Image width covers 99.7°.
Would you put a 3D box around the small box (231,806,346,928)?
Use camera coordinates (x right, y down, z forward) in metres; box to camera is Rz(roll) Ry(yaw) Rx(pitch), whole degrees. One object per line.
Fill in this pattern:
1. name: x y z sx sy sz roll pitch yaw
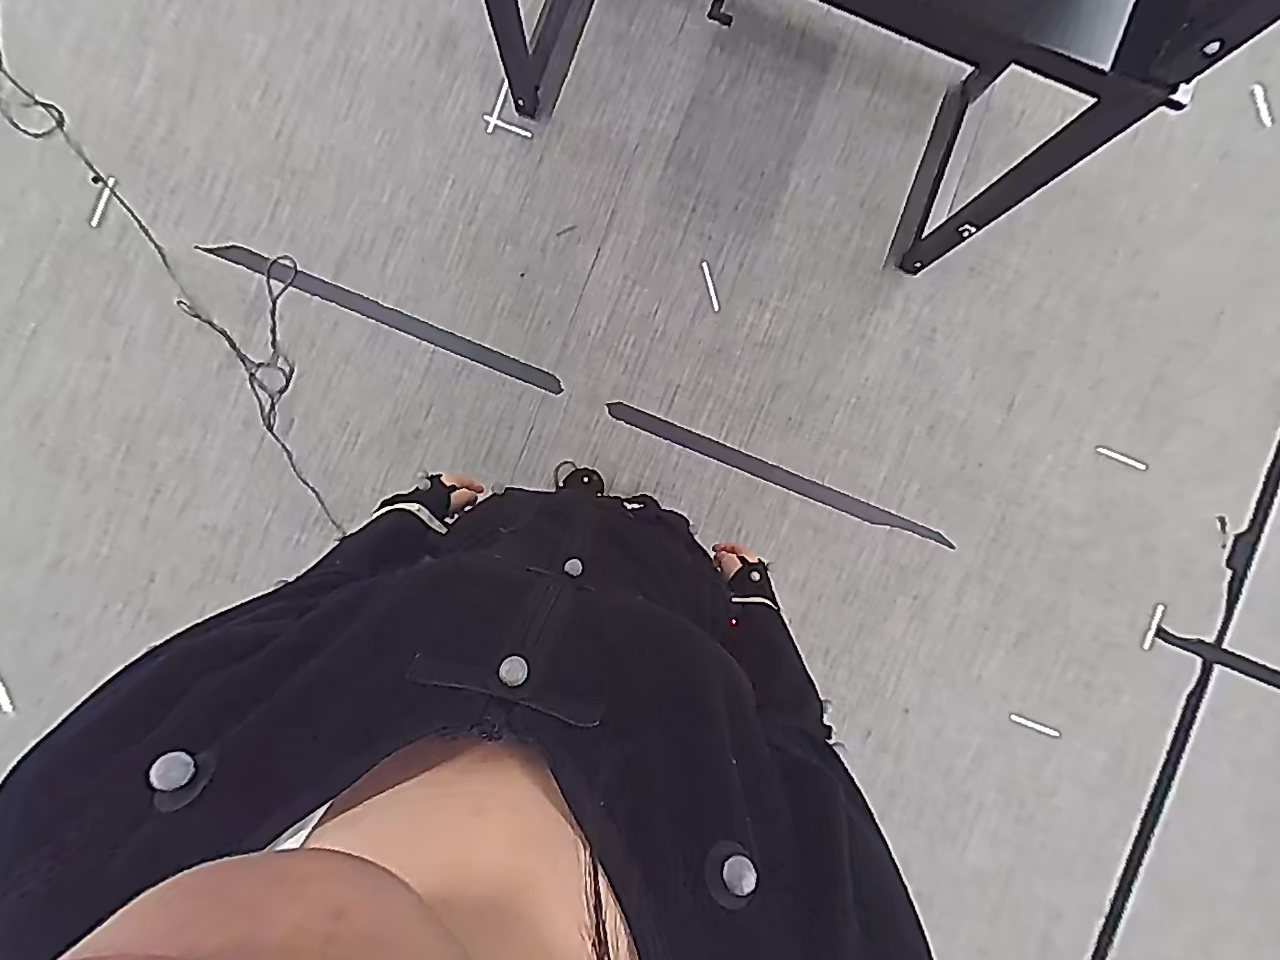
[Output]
1. small box: -0.880 0.972 1.373 0.168 0.176 0.179 16 90 -3
